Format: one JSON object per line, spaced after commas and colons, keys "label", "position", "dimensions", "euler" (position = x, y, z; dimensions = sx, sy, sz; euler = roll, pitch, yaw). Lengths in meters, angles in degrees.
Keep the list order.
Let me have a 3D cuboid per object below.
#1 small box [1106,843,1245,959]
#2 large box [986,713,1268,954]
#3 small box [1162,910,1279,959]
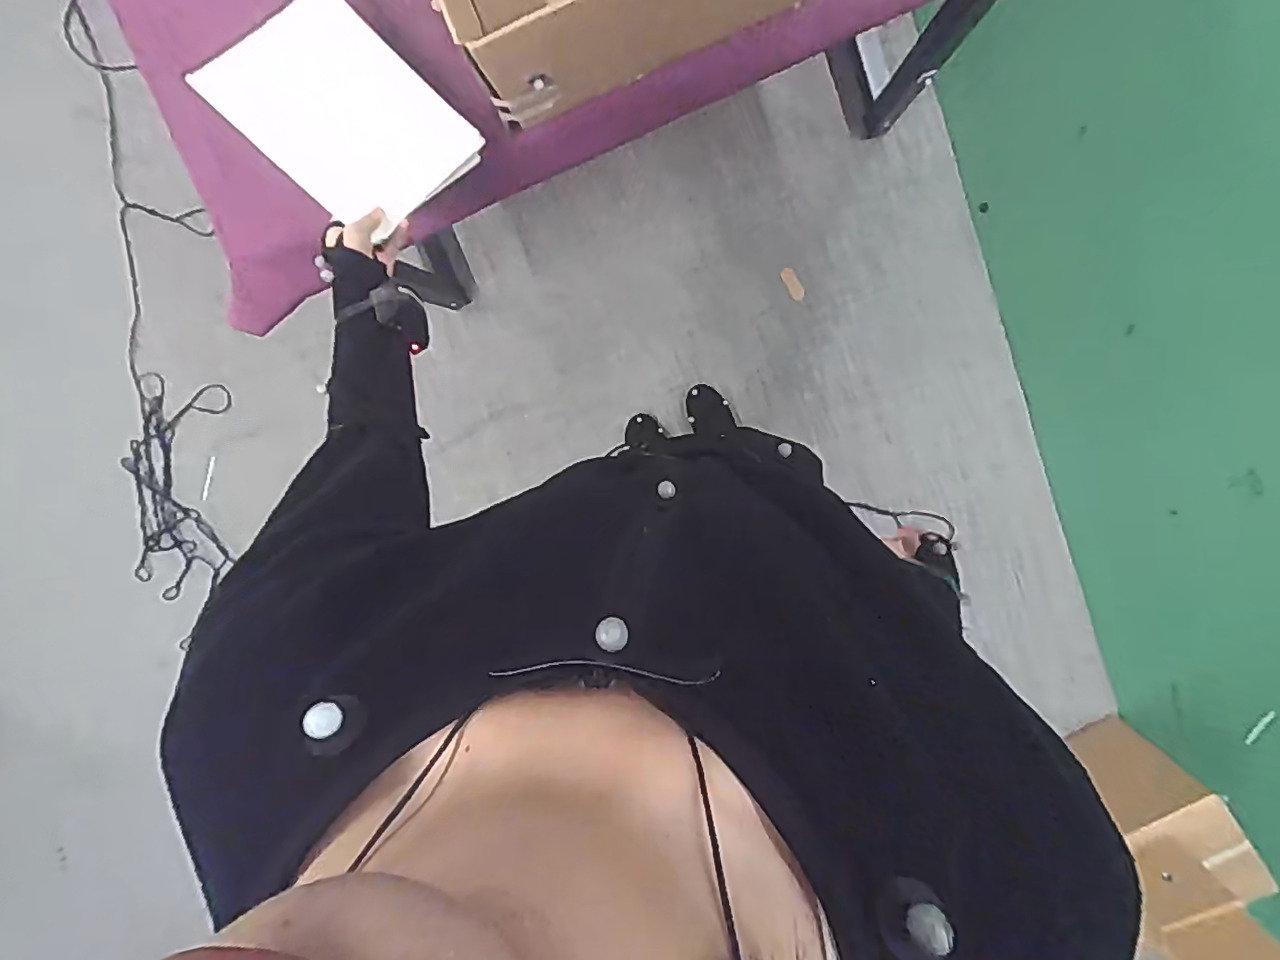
{"label": "small box", "position": [1.203, 0.953, 1.204], "dimensions": [0.168, 0.176, 0.179], "euler": [-30, 97, 9]}
{"label": "large box", "position": [1.258, 0.920, 1.444], "dimensions": [0.408, 0.320, 0.320], "euler": [-36, 97, 8]}
{"label": "small box", "position": [1.192, 0.990, 1.046], "dimensions": [0.179, 0.176, 0.168], "euler": [-28, 97, 9]}
